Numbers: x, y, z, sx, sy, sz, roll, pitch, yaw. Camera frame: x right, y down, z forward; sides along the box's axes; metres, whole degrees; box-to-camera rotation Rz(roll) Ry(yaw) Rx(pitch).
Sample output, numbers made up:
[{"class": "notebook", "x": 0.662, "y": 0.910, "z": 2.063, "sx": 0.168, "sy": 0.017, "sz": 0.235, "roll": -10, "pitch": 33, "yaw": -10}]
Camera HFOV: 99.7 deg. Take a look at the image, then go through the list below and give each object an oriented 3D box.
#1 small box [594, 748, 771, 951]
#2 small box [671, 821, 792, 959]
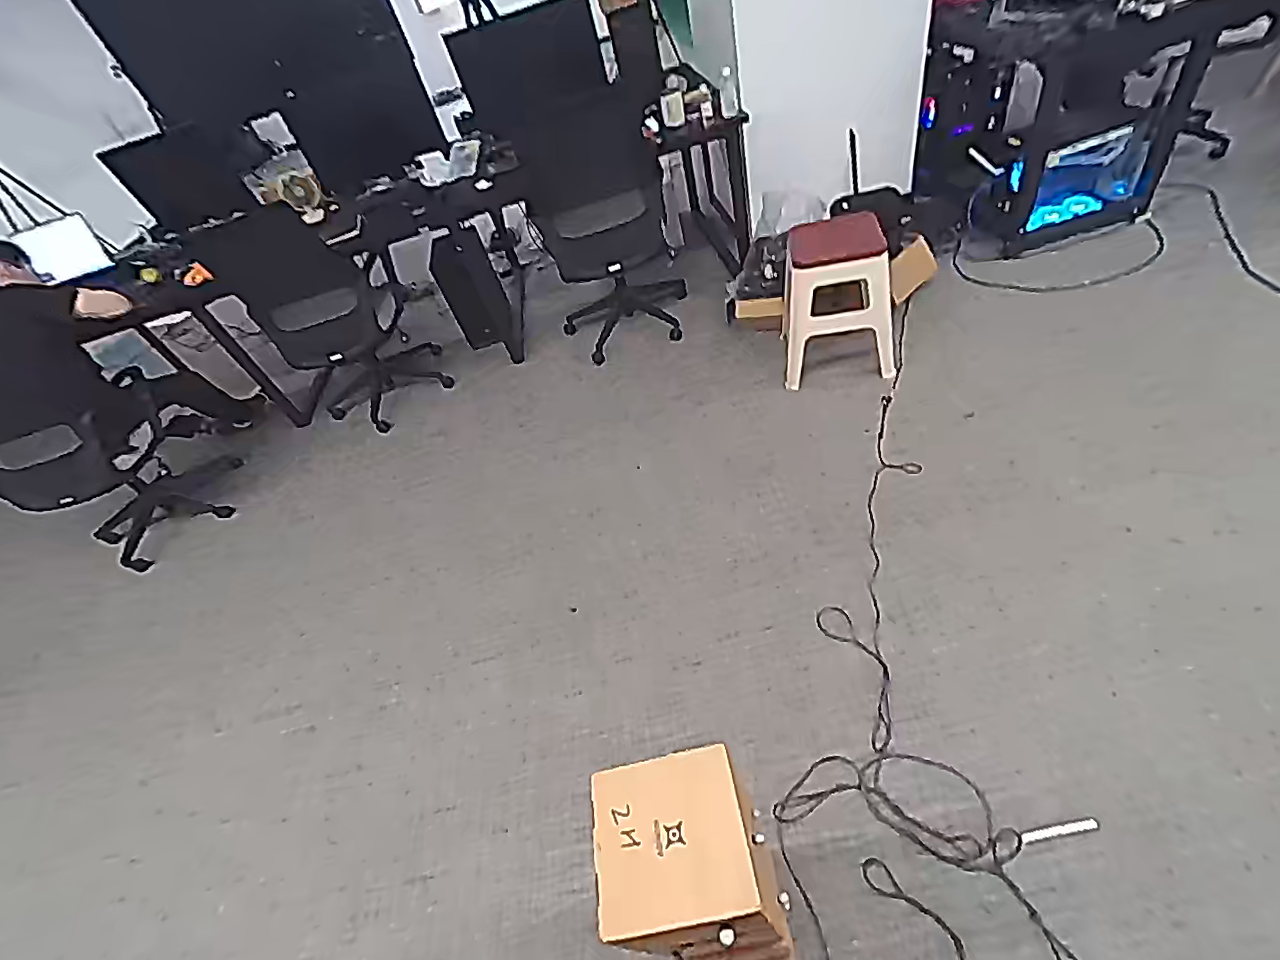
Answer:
[{"class": "small box", "x": 0.055, "y": 0.455, "z": 0.664, "sx": 0.179, "sy": 0.176, "sz": 0.168, "roll": -16, "pitch": 44, "yaw": 6}, {"class": "small box", "x": 0.142, "y": 0.683, "z": 0.887, "sx": 0.179, "sy": 0.176, "sz": 0.168, "roll": -17, "pitch": 45, "yaw": 6}]
